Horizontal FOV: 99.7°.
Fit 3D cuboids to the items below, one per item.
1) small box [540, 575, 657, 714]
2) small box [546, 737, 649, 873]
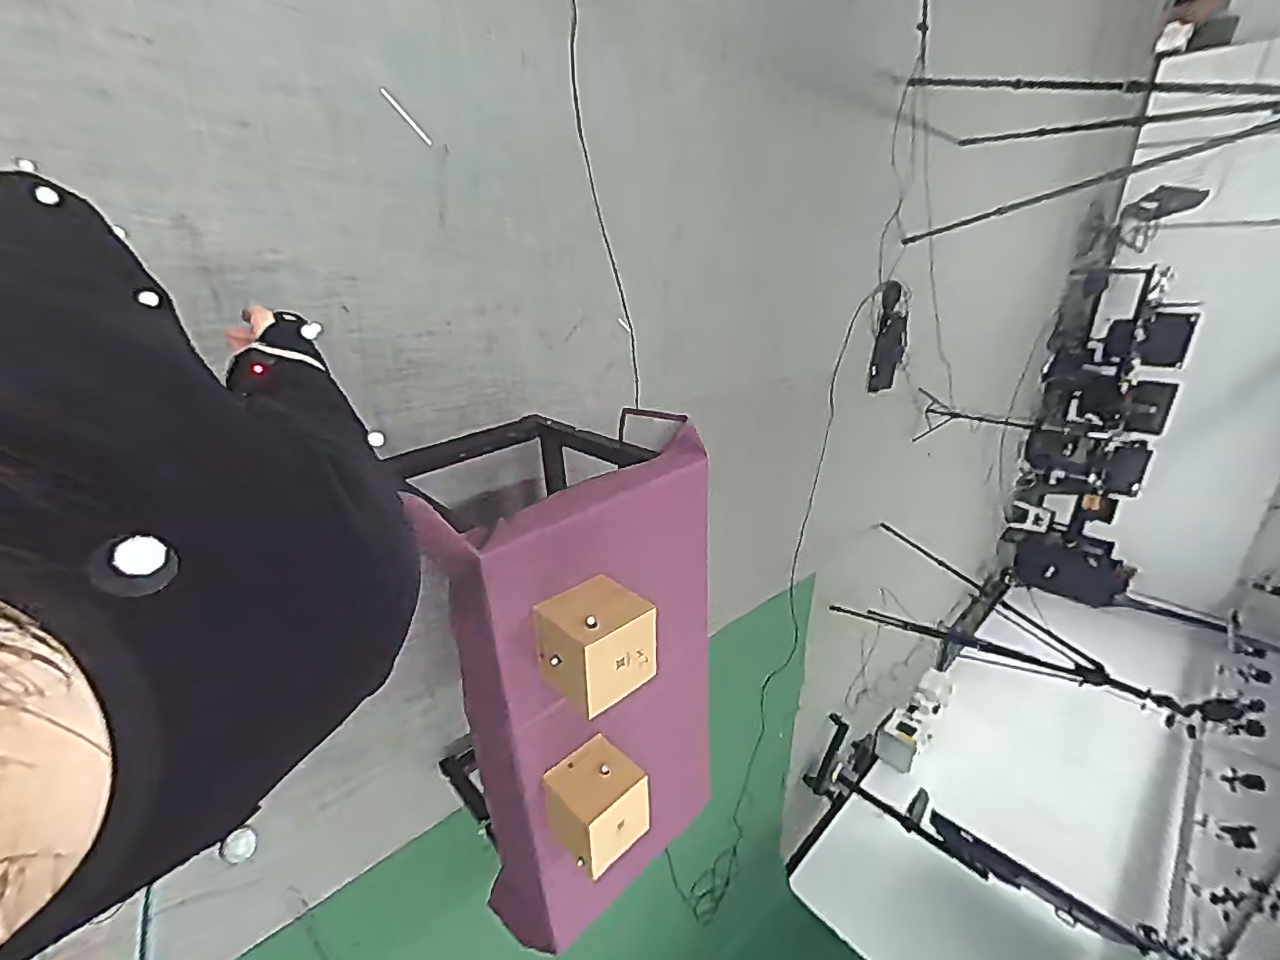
[{"bbox_3d":[-0.086,0.313,1.068,0.179,0.176,0.168,-20,120,-39],"label":"small box"},{"bbox_3d":[-0.097,0.714,1.217,0.168,0.176,0.179,-21,120,-38],"label":"small box"}]
